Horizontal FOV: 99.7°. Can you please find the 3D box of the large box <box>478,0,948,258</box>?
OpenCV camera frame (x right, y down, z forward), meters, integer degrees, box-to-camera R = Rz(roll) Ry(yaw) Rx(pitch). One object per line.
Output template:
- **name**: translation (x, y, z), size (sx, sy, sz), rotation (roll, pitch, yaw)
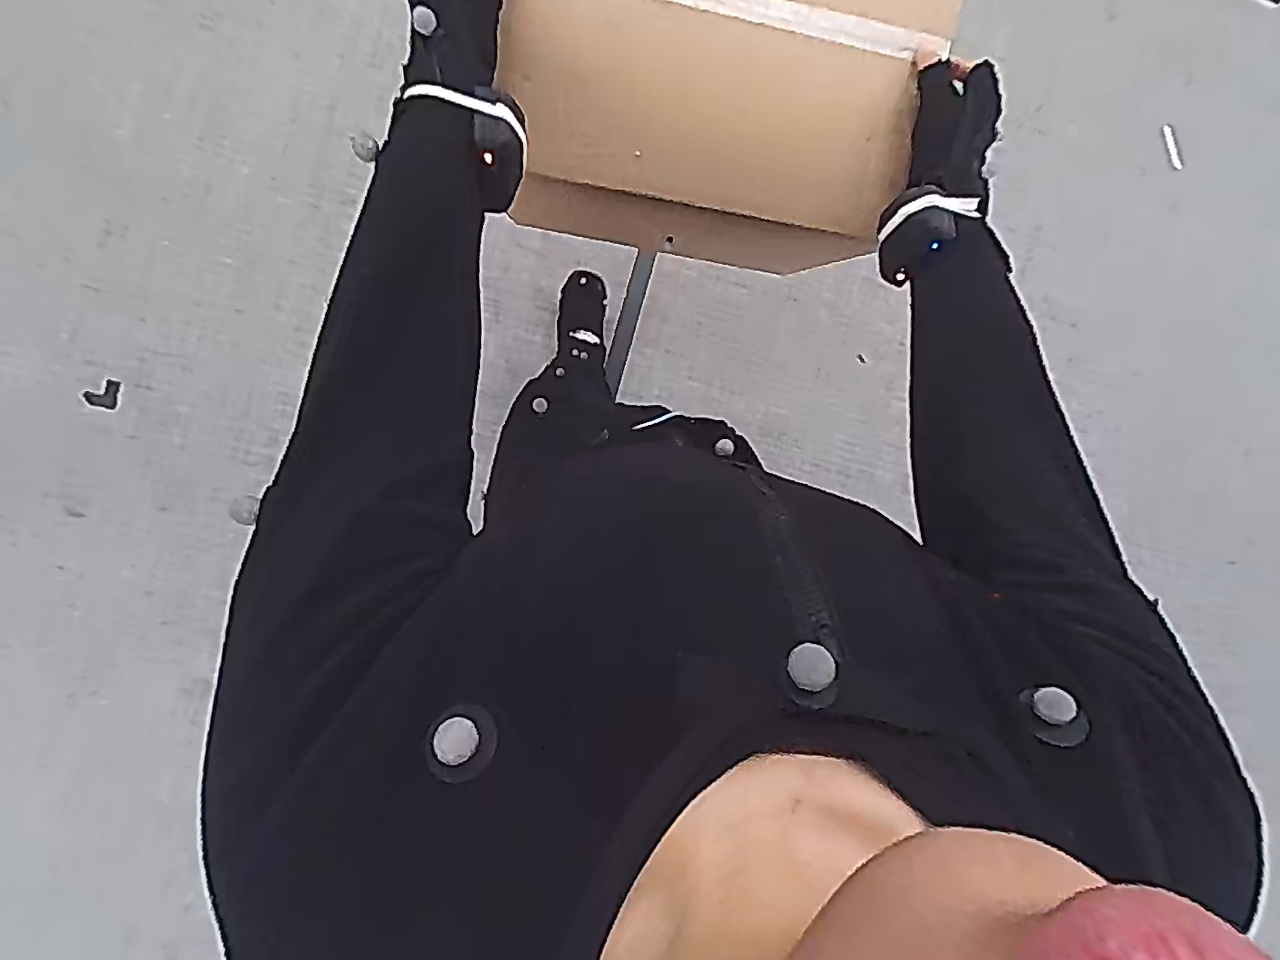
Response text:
- **large box**: translation (0.061, -0.455, 0.607), size (0.408, 0.320, 0.320), rotation (7, 104, -8)
